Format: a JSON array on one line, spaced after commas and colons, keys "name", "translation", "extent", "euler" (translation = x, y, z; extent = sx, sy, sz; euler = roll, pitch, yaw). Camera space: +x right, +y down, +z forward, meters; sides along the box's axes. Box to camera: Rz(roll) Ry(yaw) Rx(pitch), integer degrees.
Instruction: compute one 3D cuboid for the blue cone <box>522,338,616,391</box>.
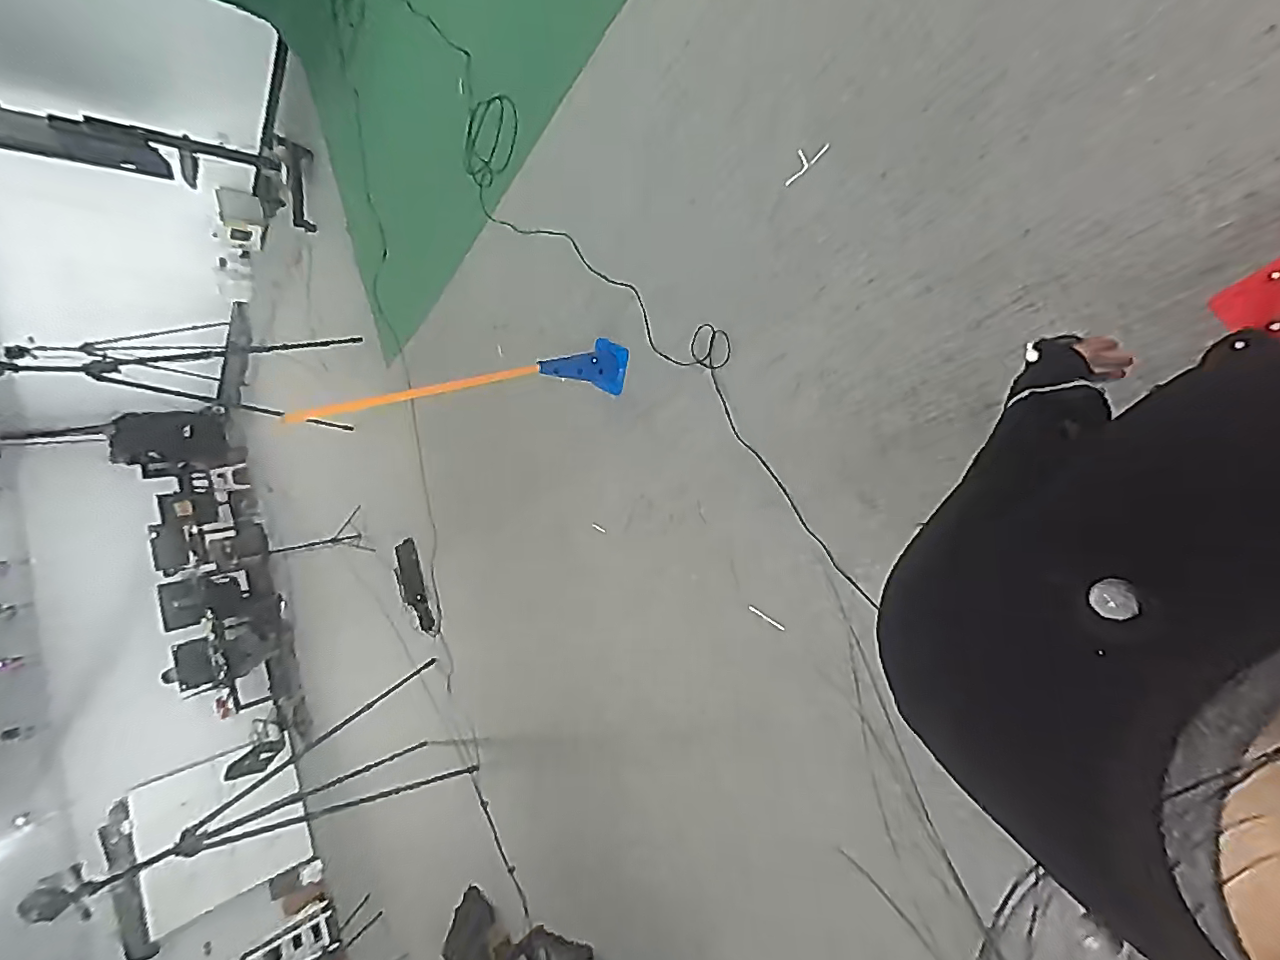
[{"name": "blue cone", "translation": [-0.283, -0.443, 2.093], "extent": [0.192, 0.380, 0.193], "euler": [30, 119, 36]}]
